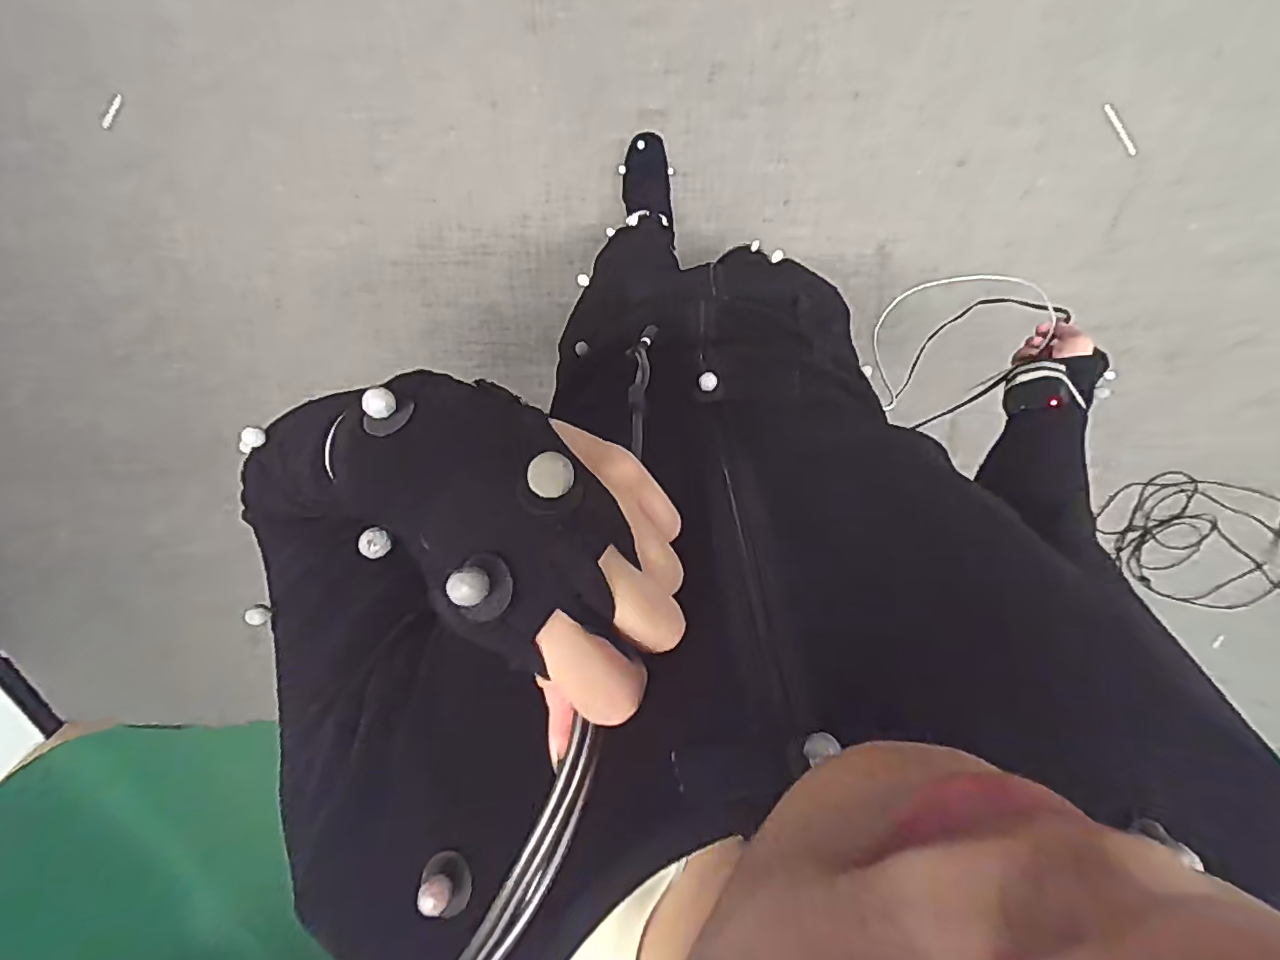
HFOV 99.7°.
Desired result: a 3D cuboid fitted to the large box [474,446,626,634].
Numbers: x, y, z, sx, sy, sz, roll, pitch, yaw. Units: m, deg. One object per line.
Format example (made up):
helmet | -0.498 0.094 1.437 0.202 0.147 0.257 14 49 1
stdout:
large box | -0.218 0.159 1.488 0.320 0.320 0.408 -5 119 5
